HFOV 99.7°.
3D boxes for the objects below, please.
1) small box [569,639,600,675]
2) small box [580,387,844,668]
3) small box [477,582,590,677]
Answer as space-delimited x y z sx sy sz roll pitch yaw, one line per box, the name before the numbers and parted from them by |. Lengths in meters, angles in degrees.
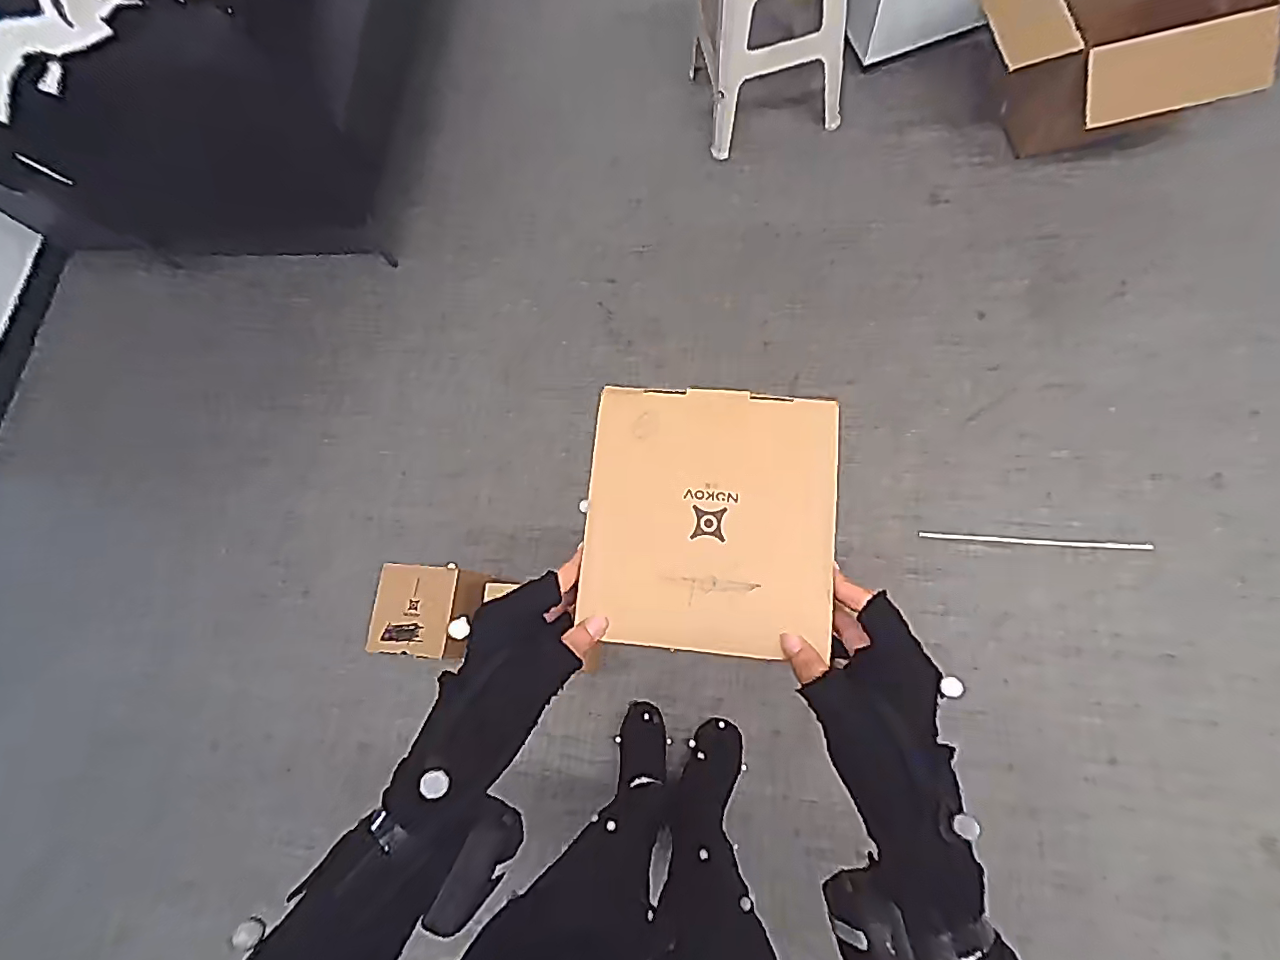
small box | -0.186 0.346 1.247 0.168 0.176 0.179 1 74 9
small box | 0.055 0.040 0.438 0.168 0.176 0.179 4 81 6
small box | -0.203 0.300 1.091 0.179 0.176 0.168 1 75 8
